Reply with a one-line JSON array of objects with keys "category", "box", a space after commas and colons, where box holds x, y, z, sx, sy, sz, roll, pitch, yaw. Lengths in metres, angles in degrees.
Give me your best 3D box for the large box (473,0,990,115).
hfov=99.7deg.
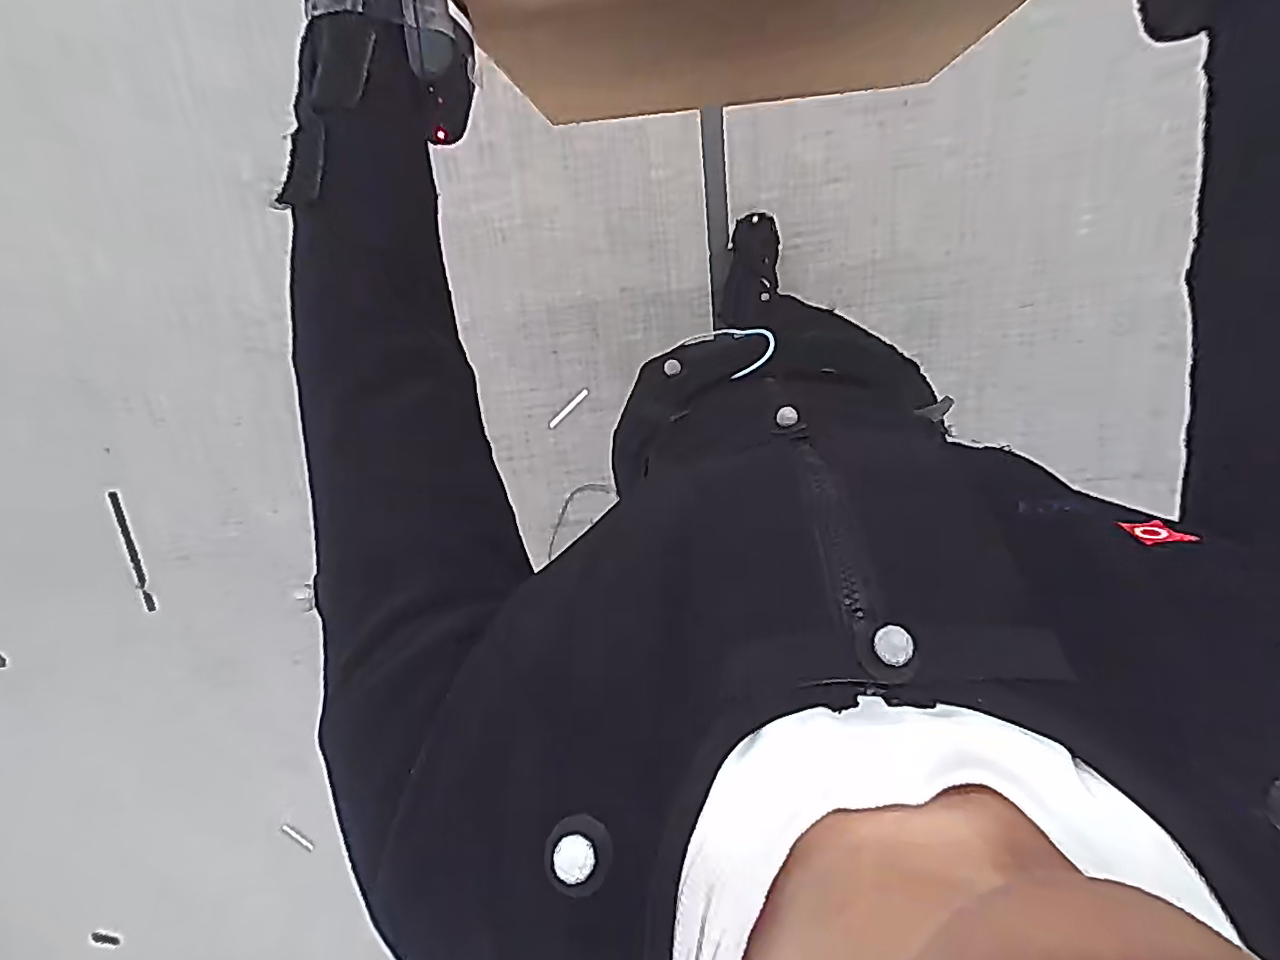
[{"category": "large box", "box": [0.074, -0.509, 0.394, 0.408, 0.320, 0.320, -3, 111, 6]}]
